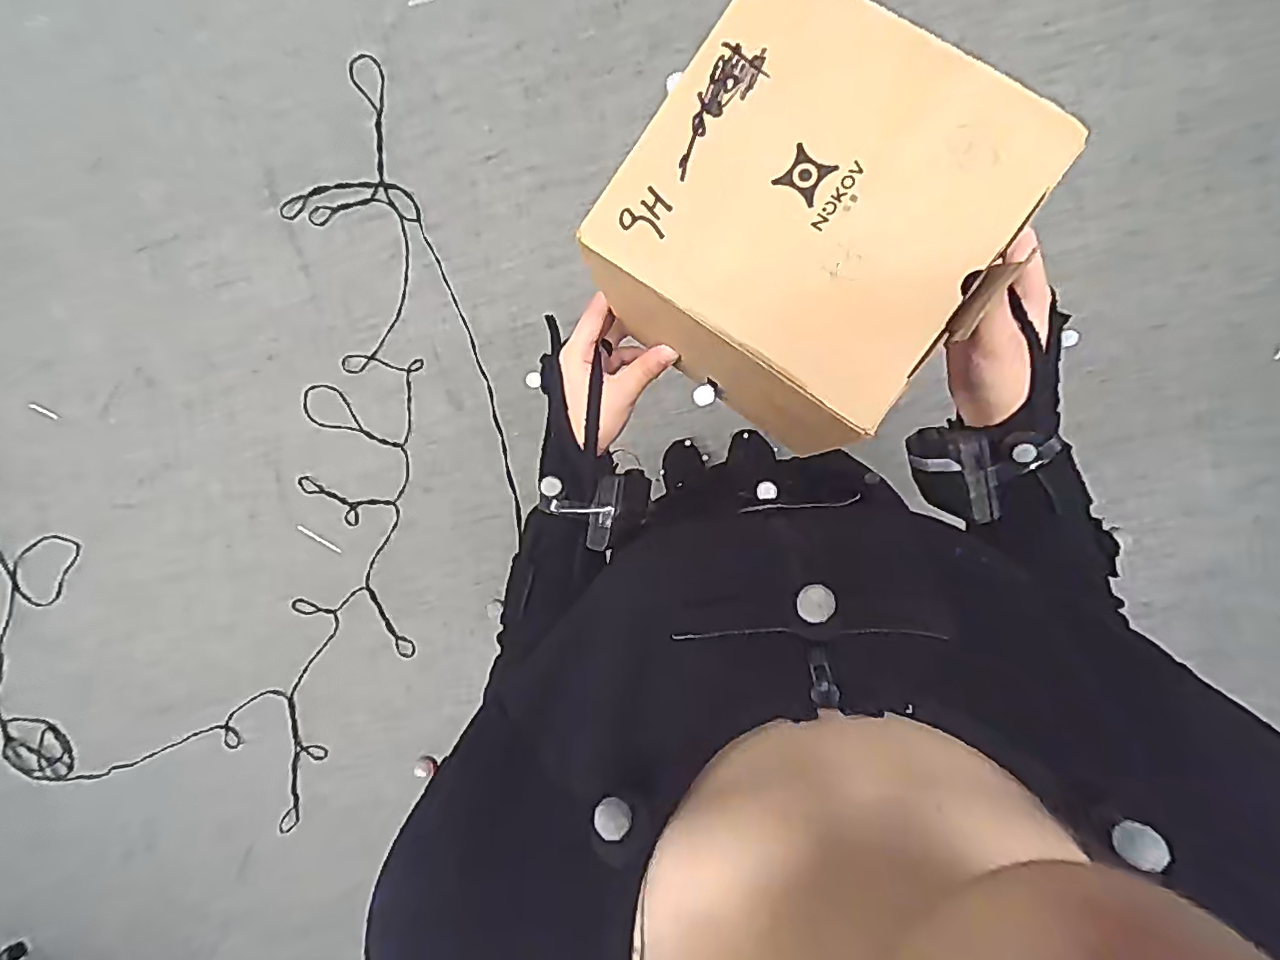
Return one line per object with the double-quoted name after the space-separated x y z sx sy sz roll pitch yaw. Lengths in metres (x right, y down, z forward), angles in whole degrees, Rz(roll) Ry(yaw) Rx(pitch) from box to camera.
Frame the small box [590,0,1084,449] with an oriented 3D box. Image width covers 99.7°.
0.098 -0.132 0.339 0.179 0.176 0.168 37 93 5 "small box"
